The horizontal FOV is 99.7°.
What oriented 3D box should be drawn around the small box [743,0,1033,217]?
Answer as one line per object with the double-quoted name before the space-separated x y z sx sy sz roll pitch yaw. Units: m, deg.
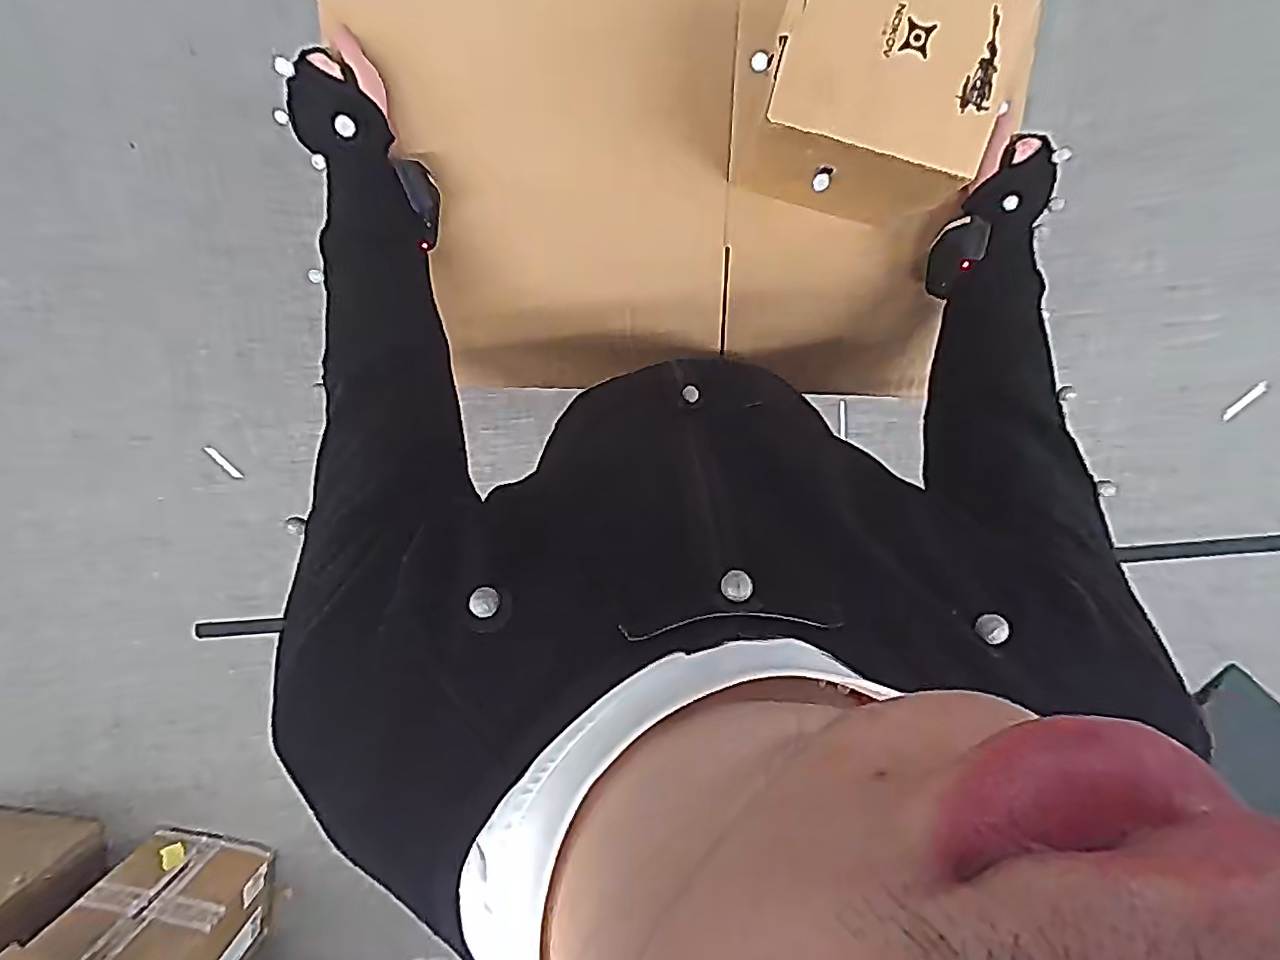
"small box" 0.204 -0.359 0.490 0.179 0.176 0.168 15 103 -1
